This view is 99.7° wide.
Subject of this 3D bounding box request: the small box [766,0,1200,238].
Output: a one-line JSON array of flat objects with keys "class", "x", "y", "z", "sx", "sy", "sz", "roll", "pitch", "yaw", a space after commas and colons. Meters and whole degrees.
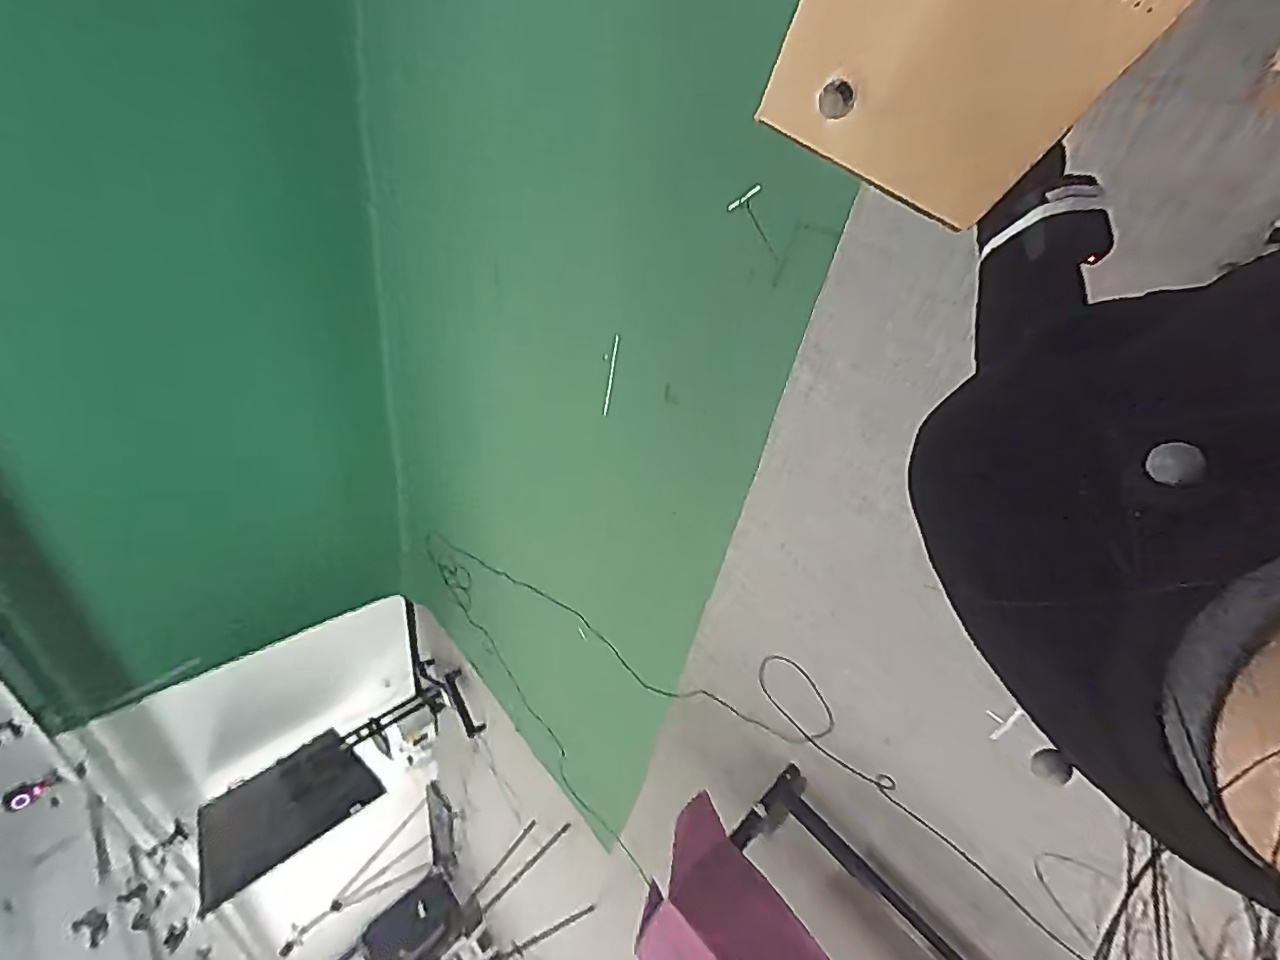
[{"class": "small box", "x": 0.213, "y": -0.306, "z": 0.345, "sx": 0.179, "sy": 0.168, "sz": 0.176, "roll": 29, "pitch": 161, "yaw": 2}]
